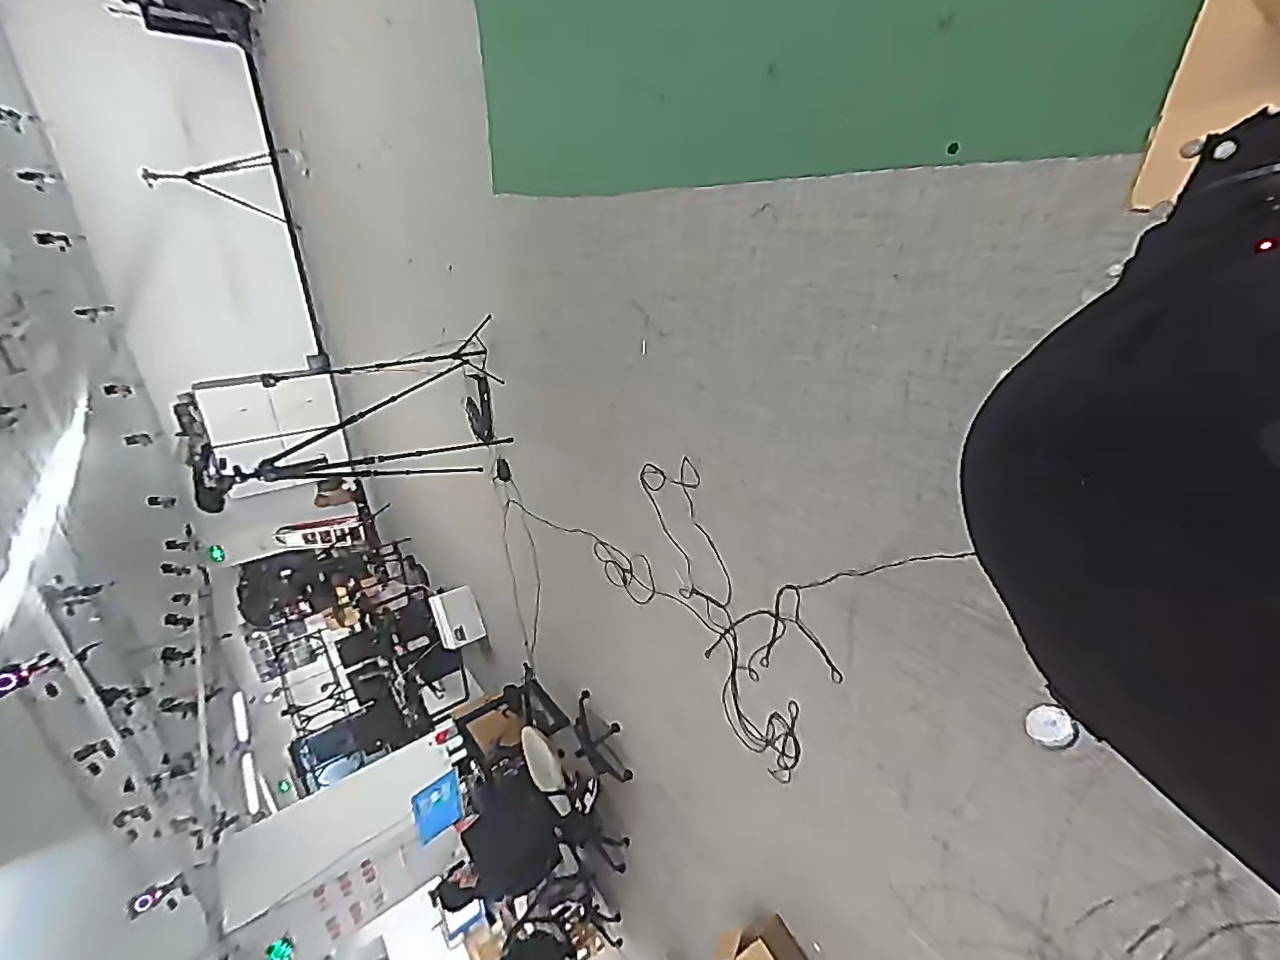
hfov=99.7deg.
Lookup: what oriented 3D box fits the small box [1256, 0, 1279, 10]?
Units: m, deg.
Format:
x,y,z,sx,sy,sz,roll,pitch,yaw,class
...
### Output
x,y,z,sx,sy,sz,roll,pitch,yaw,class
1.005,-0.780,0.743,0.168,0.176,0.179,33,129,44,small box
